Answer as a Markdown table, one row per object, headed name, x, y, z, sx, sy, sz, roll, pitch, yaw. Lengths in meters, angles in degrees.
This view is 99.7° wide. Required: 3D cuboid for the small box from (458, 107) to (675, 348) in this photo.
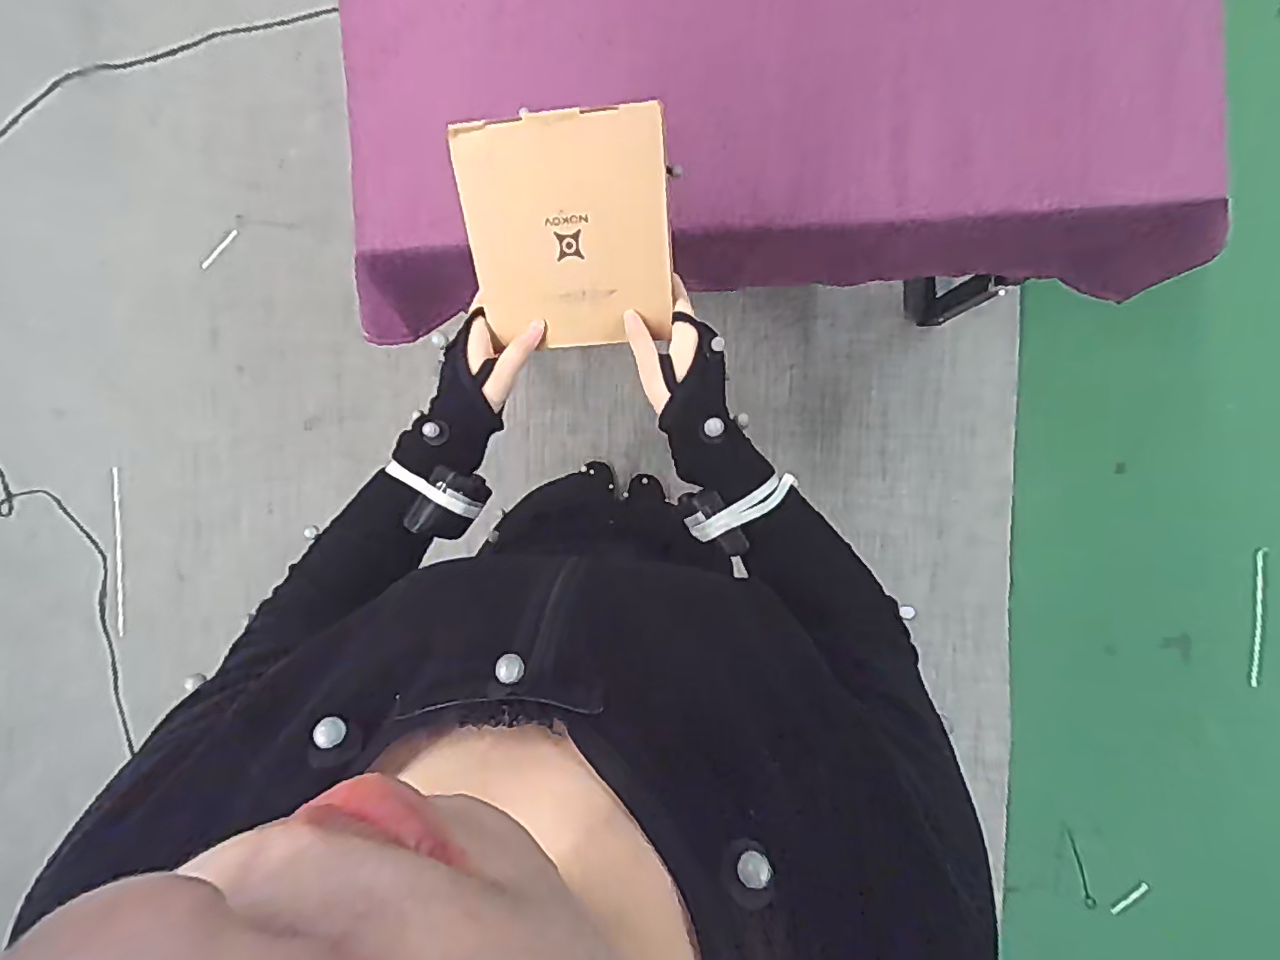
| name | x | y | z | sx | sy | sz | roll | pitch | yaw |
| --- | --- | --- | --- | --- | --- | --- | --- | --- | --- |
| small box | -0.052 | -0.235 | 0.517 | 0.168 | 0.176 | 0.179 | -1 | 118 | 5 |
